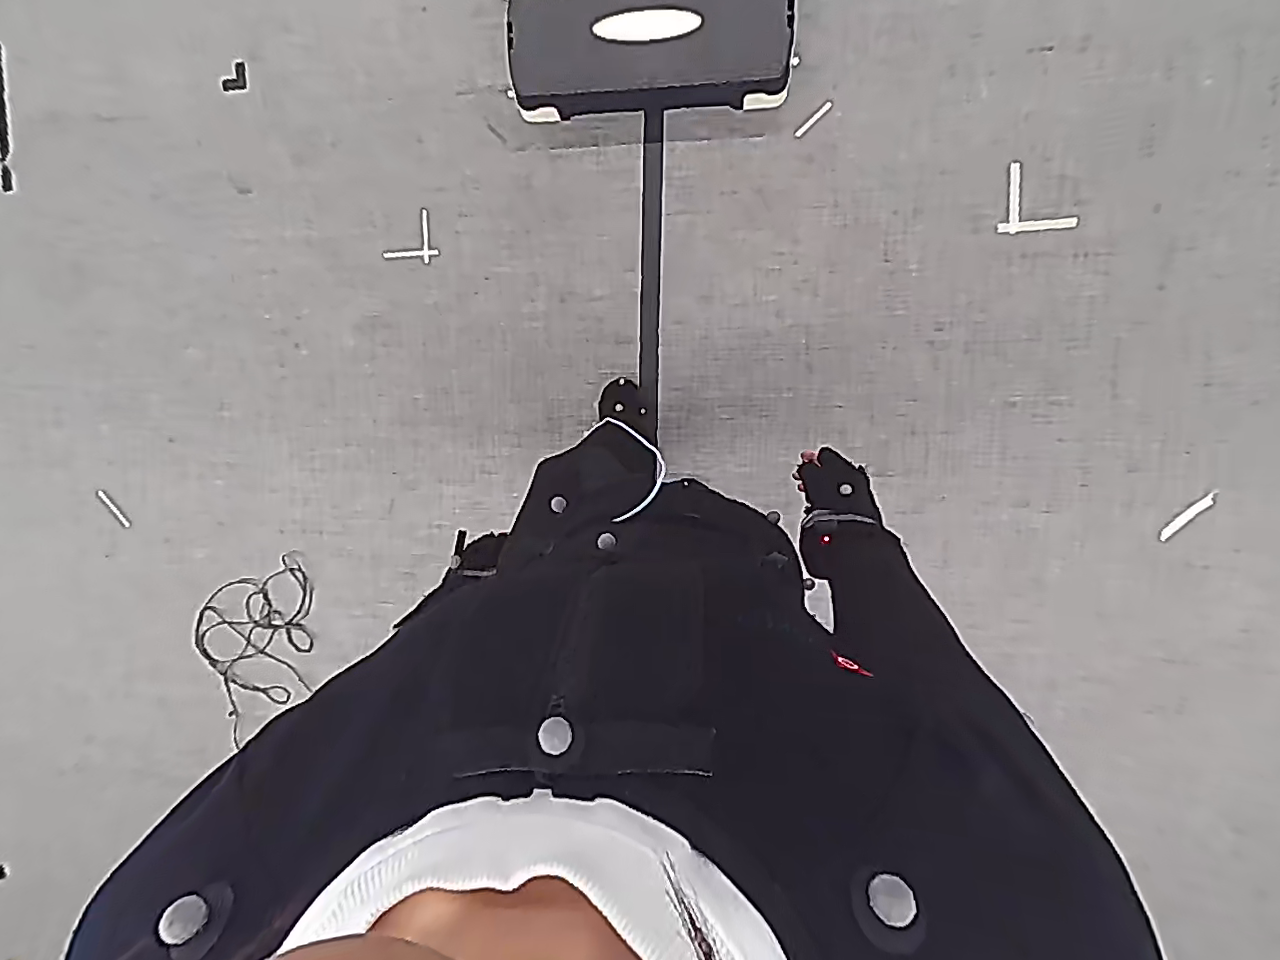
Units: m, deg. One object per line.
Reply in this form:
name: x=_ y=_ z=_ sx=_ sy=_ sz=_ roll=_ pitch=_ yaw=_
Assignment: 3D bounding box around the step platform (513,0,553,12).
step platform: x=-0.005 y=-1.296 z=1.208 sx=0.684 sy=0.204 sz=0.286 roll=0 pitch=97 yaw=5
